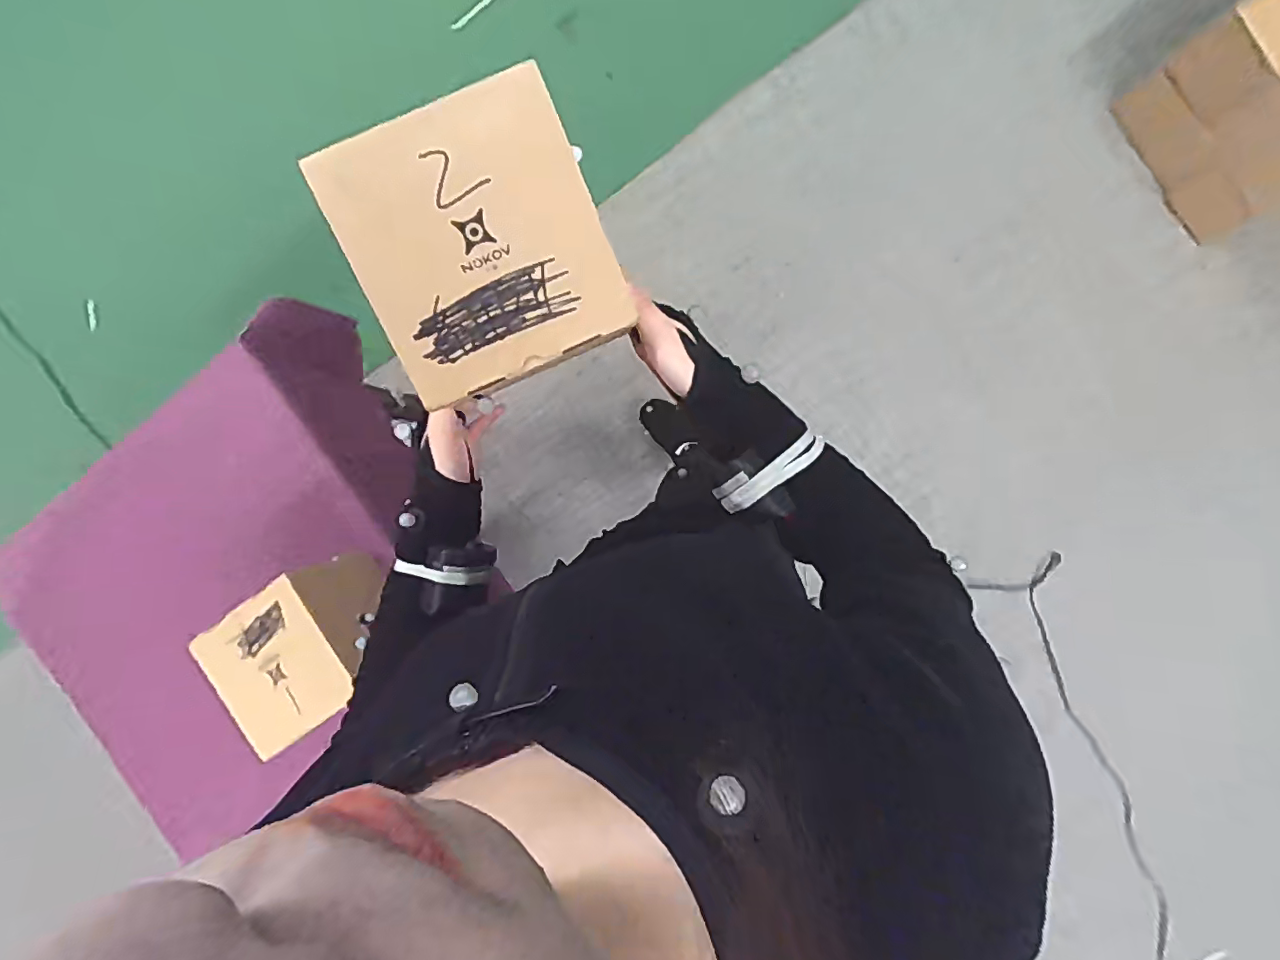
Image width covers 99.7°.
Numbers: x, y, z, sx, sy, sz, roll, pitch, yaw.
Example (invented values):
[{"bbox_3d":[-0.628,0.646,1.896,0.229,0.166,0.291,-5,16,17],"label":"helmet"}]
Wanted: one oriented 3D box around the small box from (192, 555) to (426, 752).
[{"bbox_3d":[-0.436,0.219,0.740,0.168,0.176,0.179,-35,89,7],"label":"small box"}]
